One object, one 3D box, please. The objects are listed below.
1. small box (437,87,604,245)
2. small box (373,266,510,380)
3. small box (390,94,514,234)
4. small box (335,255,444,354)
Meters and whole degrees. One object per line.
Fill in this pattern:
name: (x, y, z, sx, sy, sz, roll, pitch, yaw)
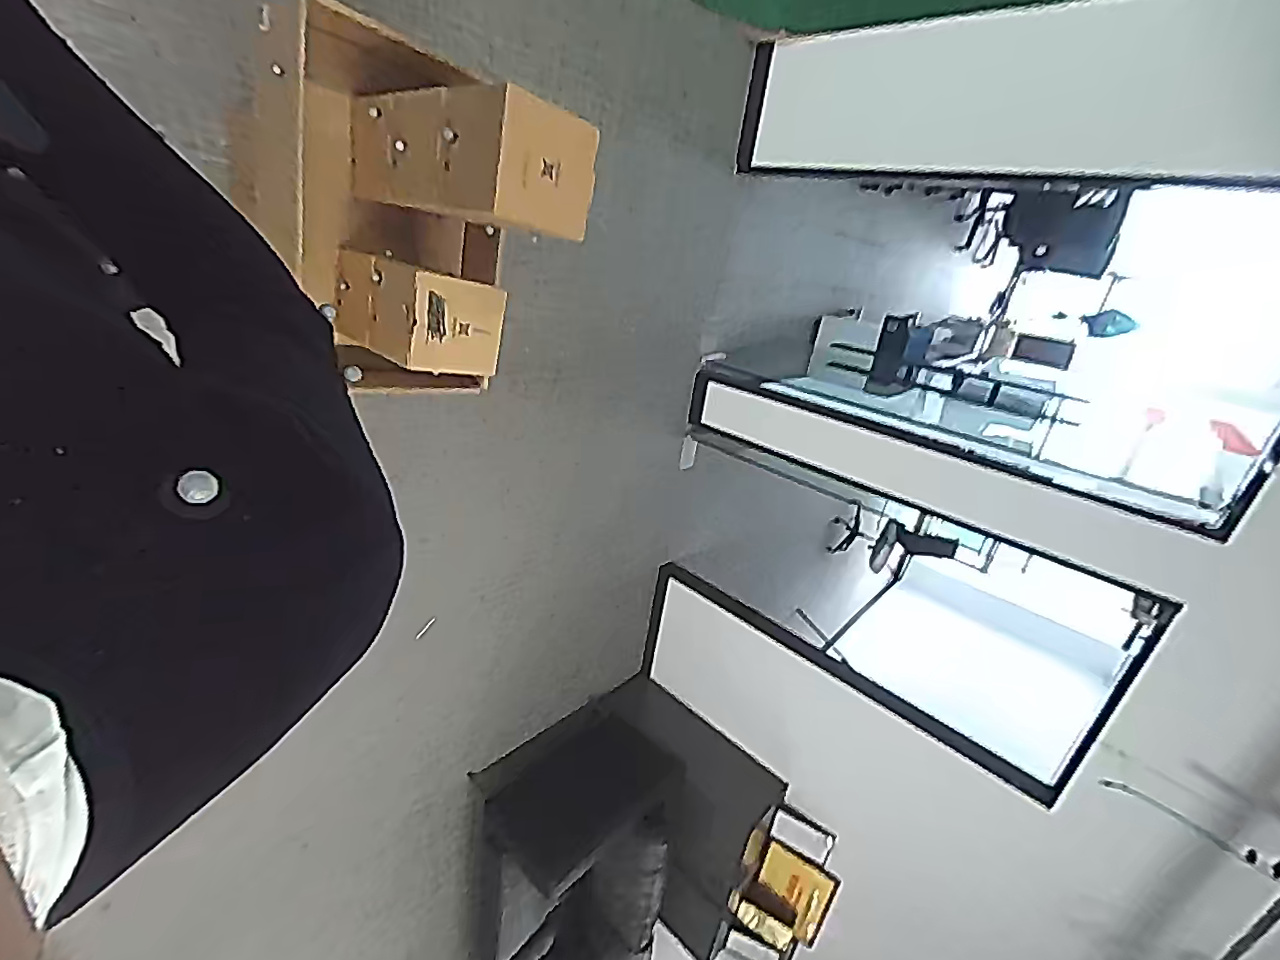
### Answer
small box: (-0.186, -0.477, 0.838, 0.179, 0.176, 0.168, -8, 117, -48)
small box: (-0.372, -0.291, 1.003, 0.179, 0.176, 0.168, -7, 117, -49)
small box: (-0.304, -0.537, 0.933, 0.179, 0.176, 0.168, -10, 118, -48)
small box: (-0.491, -0.351, 1.100, 0.179, 0.176, 0.168, -7, 117, -48)
